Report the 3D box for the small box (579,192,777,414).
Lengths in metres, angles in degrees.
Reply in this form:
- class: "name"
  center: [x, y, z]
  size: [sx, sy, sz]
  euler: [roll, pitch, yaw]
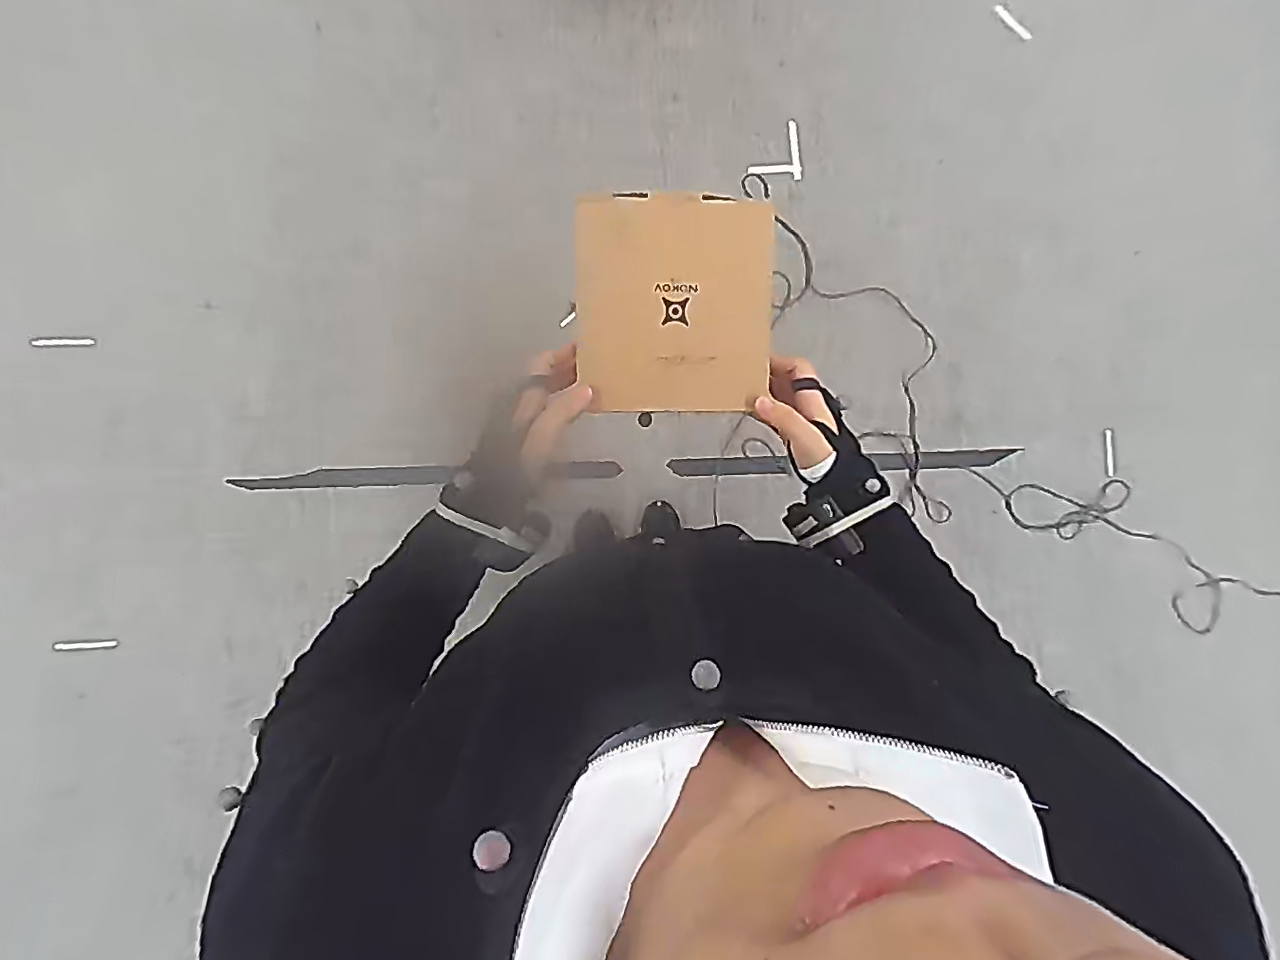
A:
- class: "small box"
  center: [0.024, -0.154, 0.525]
  size: [0.168, 0.176, 0.179]
  euler: [-1, 98, -4]
